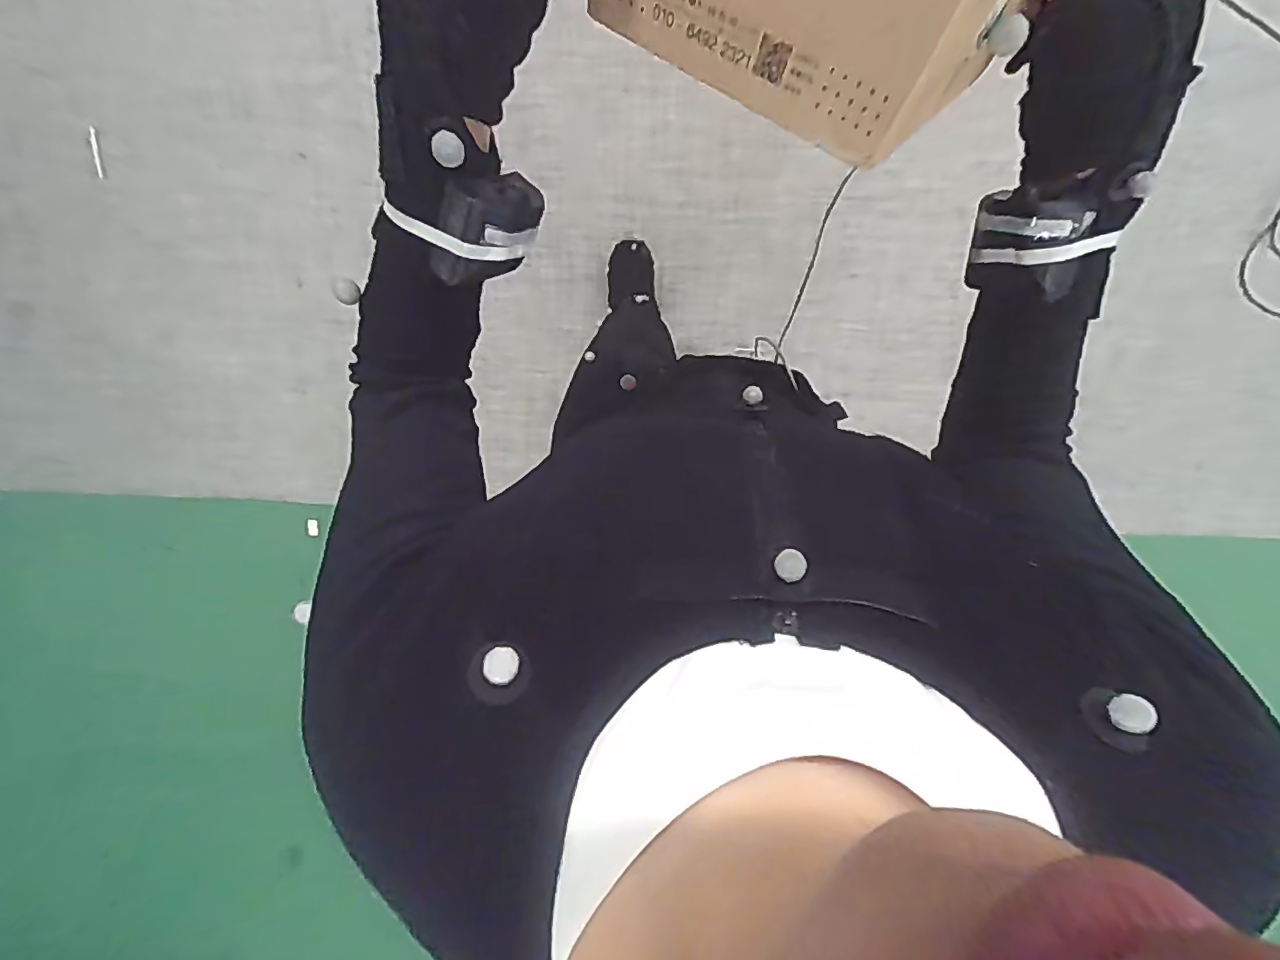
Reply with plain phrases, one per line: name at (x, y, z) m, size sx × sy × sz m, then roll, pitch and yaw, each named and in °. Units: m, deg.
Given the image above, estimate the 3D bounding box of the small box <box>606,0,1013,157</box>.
small box at (0.102, -0.283, 0.234) m, size 0.168 × 0.176 × 0.179 m, roll 38°, pitch 60°, yaw 11°
